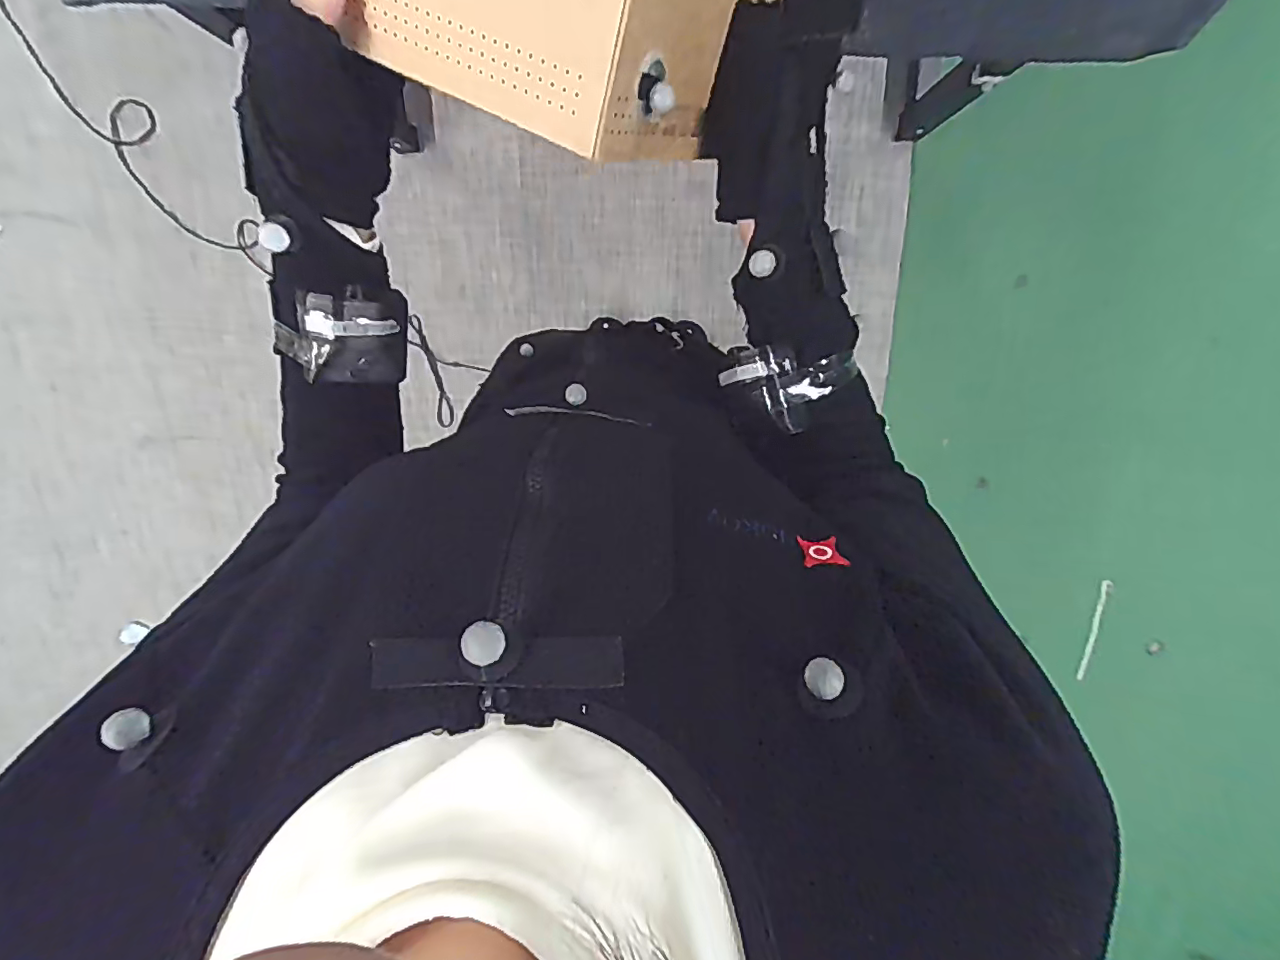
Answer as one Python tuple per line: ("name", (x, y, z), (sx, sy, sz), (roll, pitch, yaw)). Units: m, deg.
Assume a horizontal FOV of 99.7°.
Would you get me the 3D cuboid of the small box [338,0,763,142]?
("small box", (-0.031, -0.292, 0.275), (0.179, 0.168, 0.176), (30, 128, 13))
